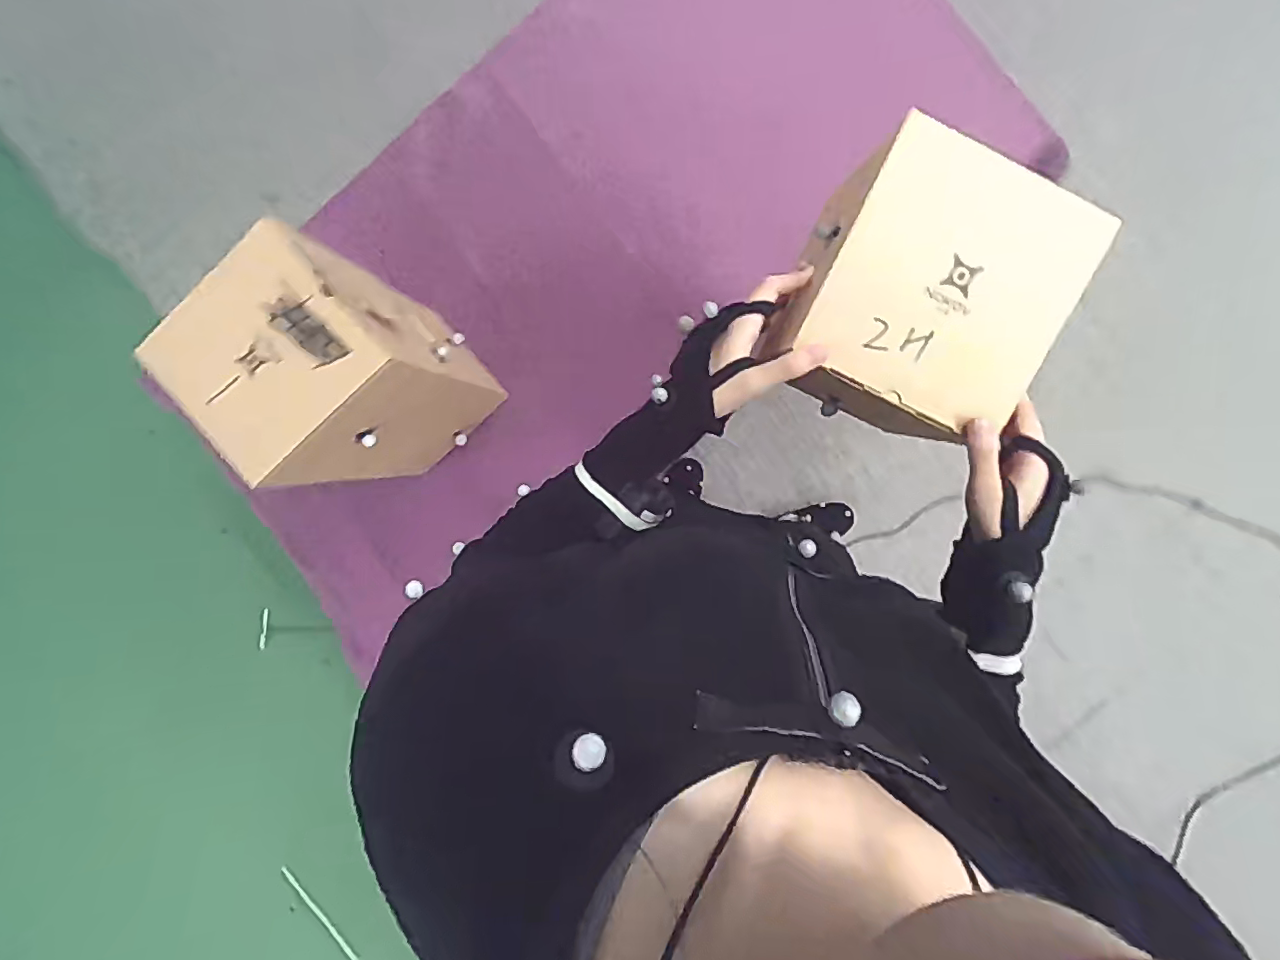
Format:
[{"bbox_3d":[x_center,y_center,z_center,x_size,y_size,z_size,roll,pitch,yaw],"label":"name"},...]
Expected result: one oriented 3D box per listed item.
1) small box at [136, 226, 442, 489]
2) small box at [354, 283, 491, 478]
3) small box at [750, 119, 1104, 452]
[{"bbox_3d":[-0.333,-0.114,0.559,0.179,0.176,0.168,-41,90,6],"label":"small box"},{"bbox_3d":[-0.323,-0.123,0.723,0.179,0.176,0.168,-41,90,5],"label":"small box"},{"bbox_3d":[0.212,-0.146,0.458,0.168,0.176,0.179,26,100,-4],"label":"small box"}]
